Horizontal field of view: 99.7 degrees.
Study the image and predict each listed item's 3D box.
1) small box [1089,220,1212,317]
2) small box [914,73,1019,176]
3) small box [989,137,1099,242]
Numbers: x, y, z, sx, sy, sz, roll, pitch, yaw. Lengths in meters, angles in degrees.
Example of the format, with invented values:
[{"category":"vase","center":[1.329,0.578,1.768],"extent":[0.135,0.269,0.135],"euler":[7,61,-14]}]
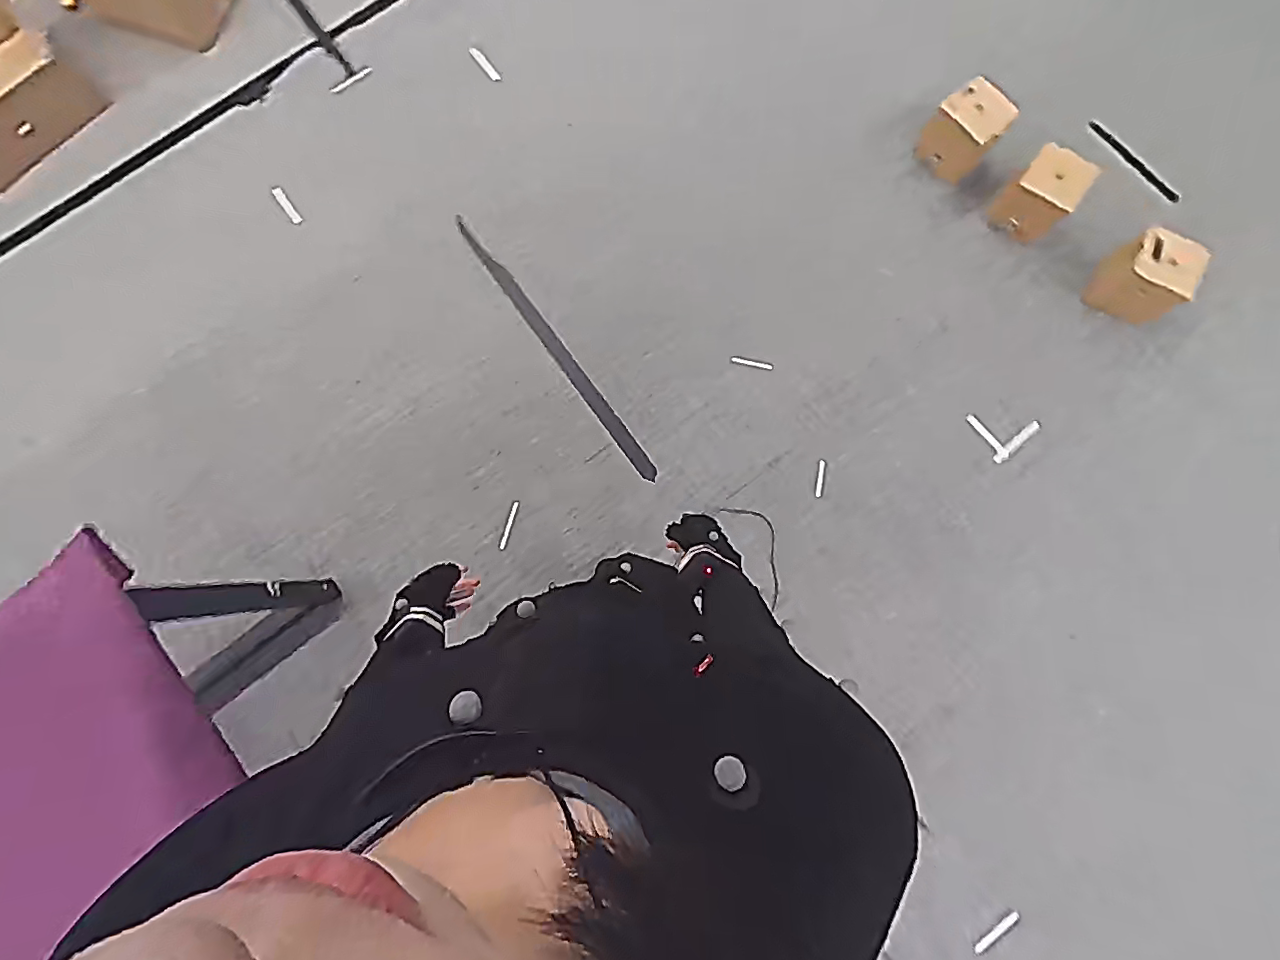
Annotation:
[{"category":"small box","center":[1.455,-0.598,1.555],"extent":[0.179,0.176,0.168],"euler":[27,82,4]},{"category":"small box","center":[0.985,-1.068,1.646],"extent":[0.168,0.176,0.179],"euler":[-38,81,-5]},{"category":"small box","center":[1.189,-0.856,1.606],"extent":[0.168,0.176,0.179],"euler":[33,83,7]}]
